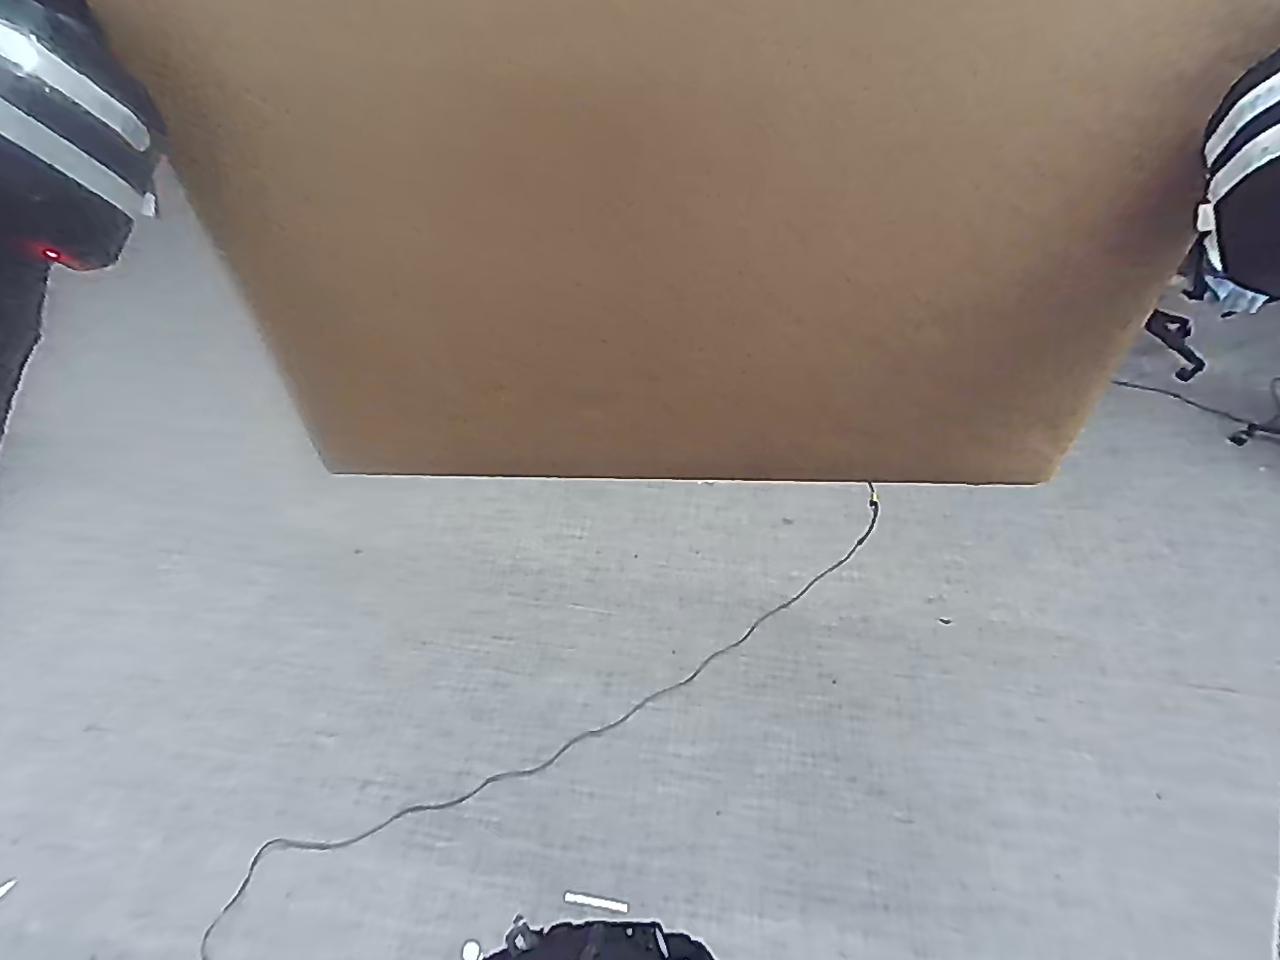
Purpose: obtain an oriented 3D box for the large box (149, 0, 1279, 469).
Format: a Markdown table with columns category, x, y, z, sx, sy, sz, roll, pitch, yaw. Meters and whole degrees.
| category | x | y | z | sx | sy | sz | roll | pitch | yaw |
| --- | --- | --- | --- | --- | --- | --- | --- | --- | --- |
| large box | 0.025 | -0.216 | 0.335 | 0.408 | 0.320 | 0.320 | 1 | 40 | 2 |
